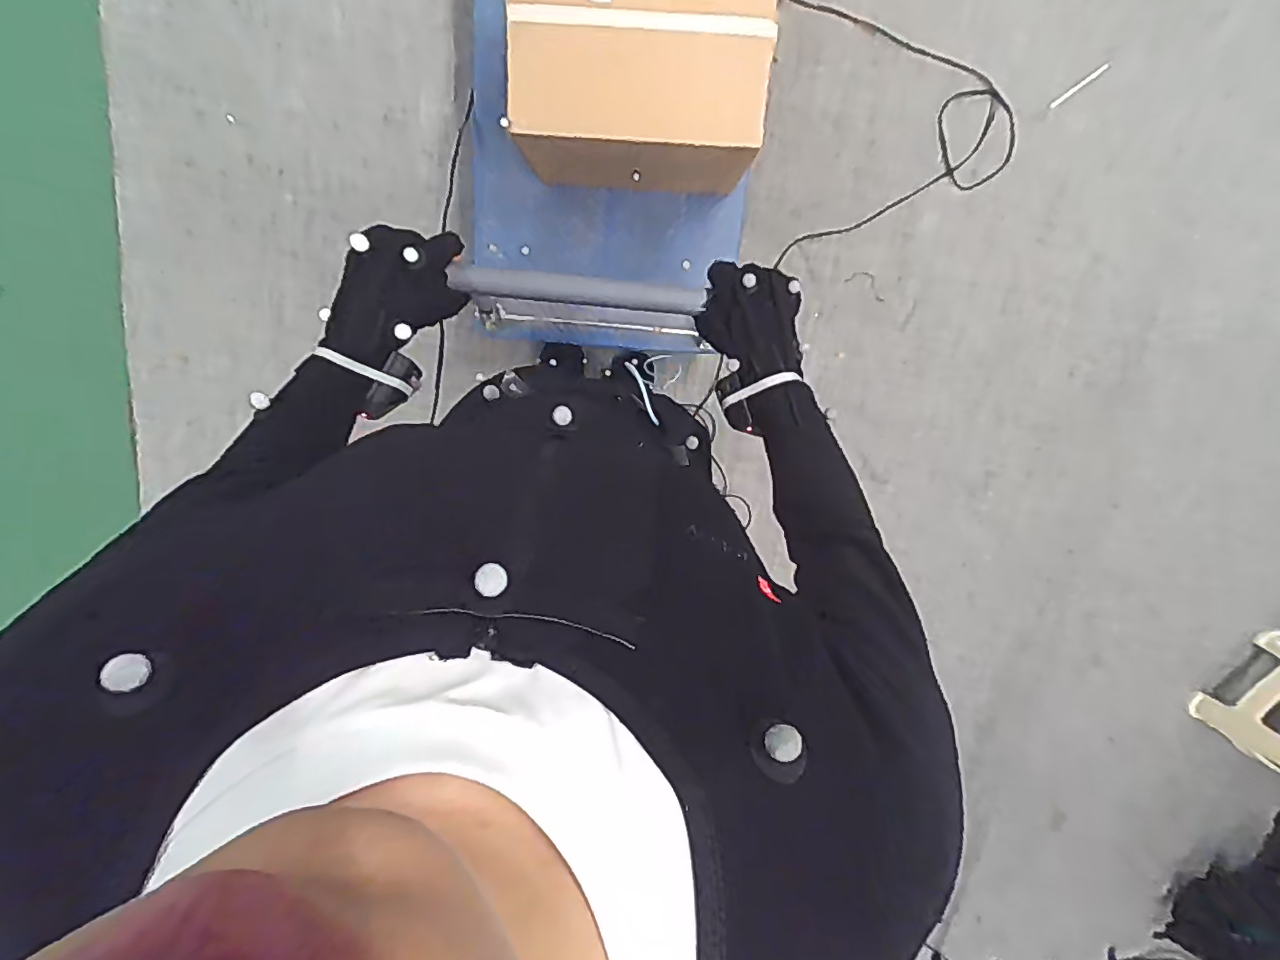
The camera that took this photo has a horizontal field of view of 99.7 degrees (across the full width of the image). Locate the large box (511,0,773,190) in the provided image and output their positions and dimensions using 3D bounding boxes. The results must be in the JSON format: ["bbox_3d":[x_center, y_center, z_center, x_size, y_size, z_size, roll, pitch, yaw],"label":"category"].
[{"bbox_3d":[0.006,-0.728,0.970,0.408,0.320,0.320,3,105,0],"label":"large box"}]
